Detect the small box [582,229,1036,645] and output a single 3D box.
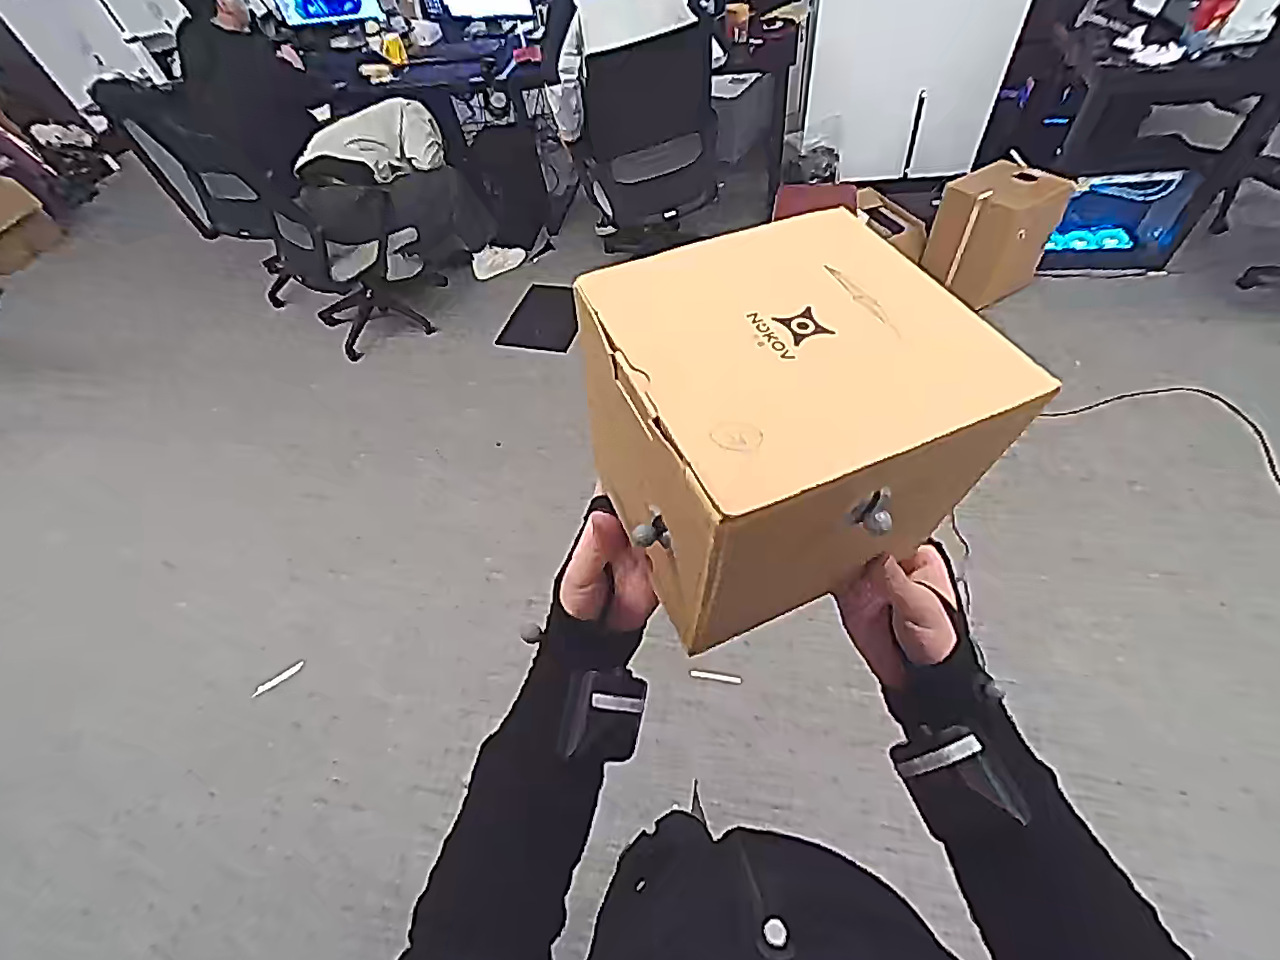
[{"bbox_3d":[0.078,-0.021,0.341,0.179,0.176,0.168,-20,58,-14],"label":"small box"}]
